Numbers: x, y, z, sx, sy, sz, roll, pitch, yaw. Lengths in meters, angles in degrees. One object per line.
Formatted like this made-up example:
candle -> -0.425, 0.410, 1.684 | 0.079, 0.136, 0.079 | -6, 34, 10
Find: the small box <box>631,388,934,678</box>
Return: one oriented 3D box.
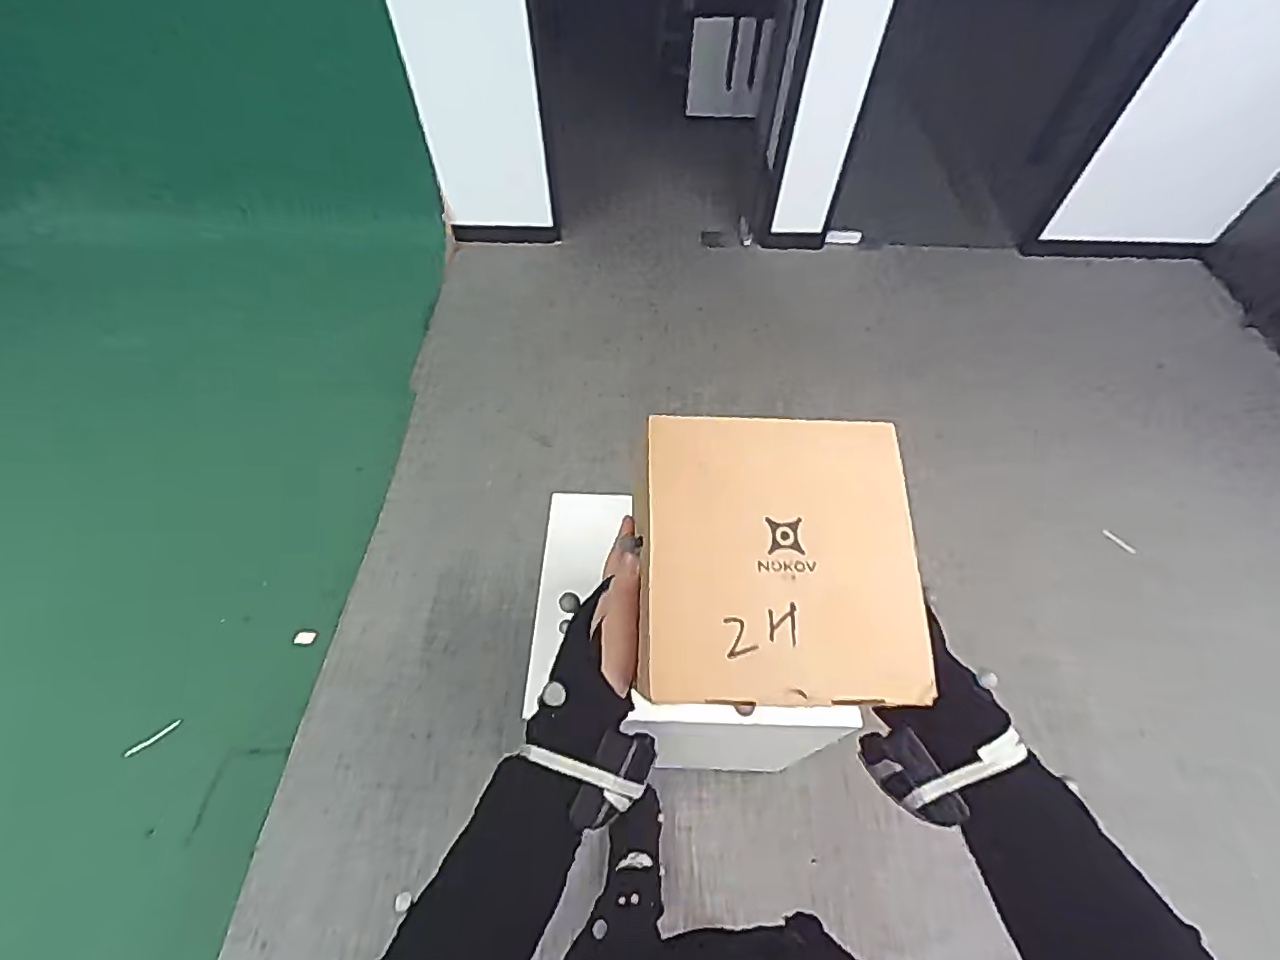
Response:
small box -> 0.079, 0.052, 0.401 | 0.168, 0.176, 0.179 | 1, 70, -3
